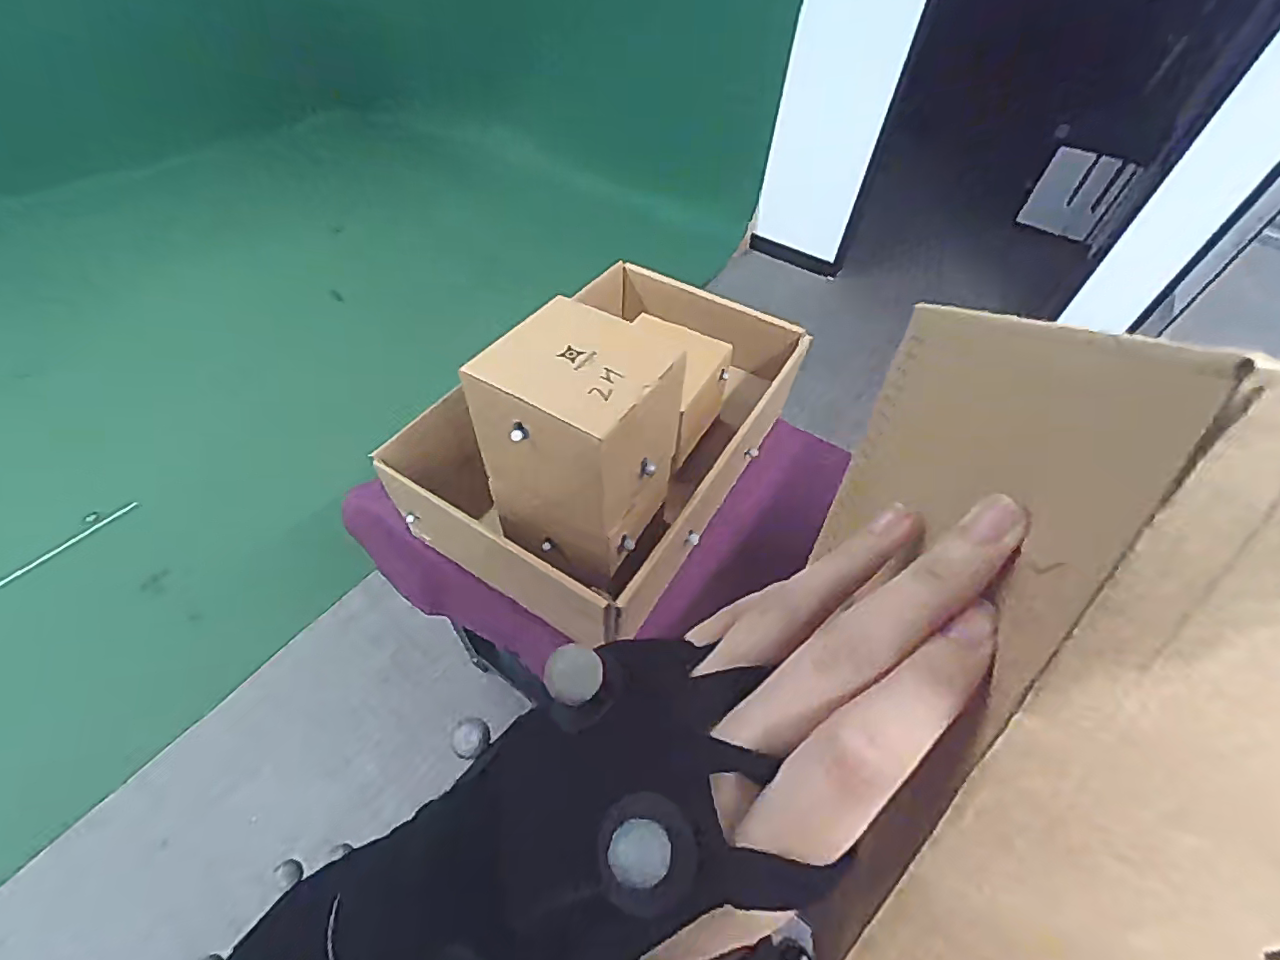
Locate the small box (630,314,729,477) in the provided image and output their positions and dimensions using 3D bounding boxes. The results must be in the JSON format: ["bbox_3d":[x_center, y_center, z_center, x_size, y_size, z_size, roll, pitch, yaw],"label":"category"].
[{"bbox_3d":[0.029,-0.135,0.886,0.168,0.176,0.179,25,55,17],"label":"small box"}]

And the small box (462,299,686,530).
[{"bbox_3d":[-0.068,-0.071,0.618,0.179,0.176,0.168,27,56,18],"label":"small box"}]

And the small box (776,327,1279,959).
[{"bbox_3d":[0.150,0.056,0.182,0.168,0.179,0.176,16,23,5],"label":"small box"}]
